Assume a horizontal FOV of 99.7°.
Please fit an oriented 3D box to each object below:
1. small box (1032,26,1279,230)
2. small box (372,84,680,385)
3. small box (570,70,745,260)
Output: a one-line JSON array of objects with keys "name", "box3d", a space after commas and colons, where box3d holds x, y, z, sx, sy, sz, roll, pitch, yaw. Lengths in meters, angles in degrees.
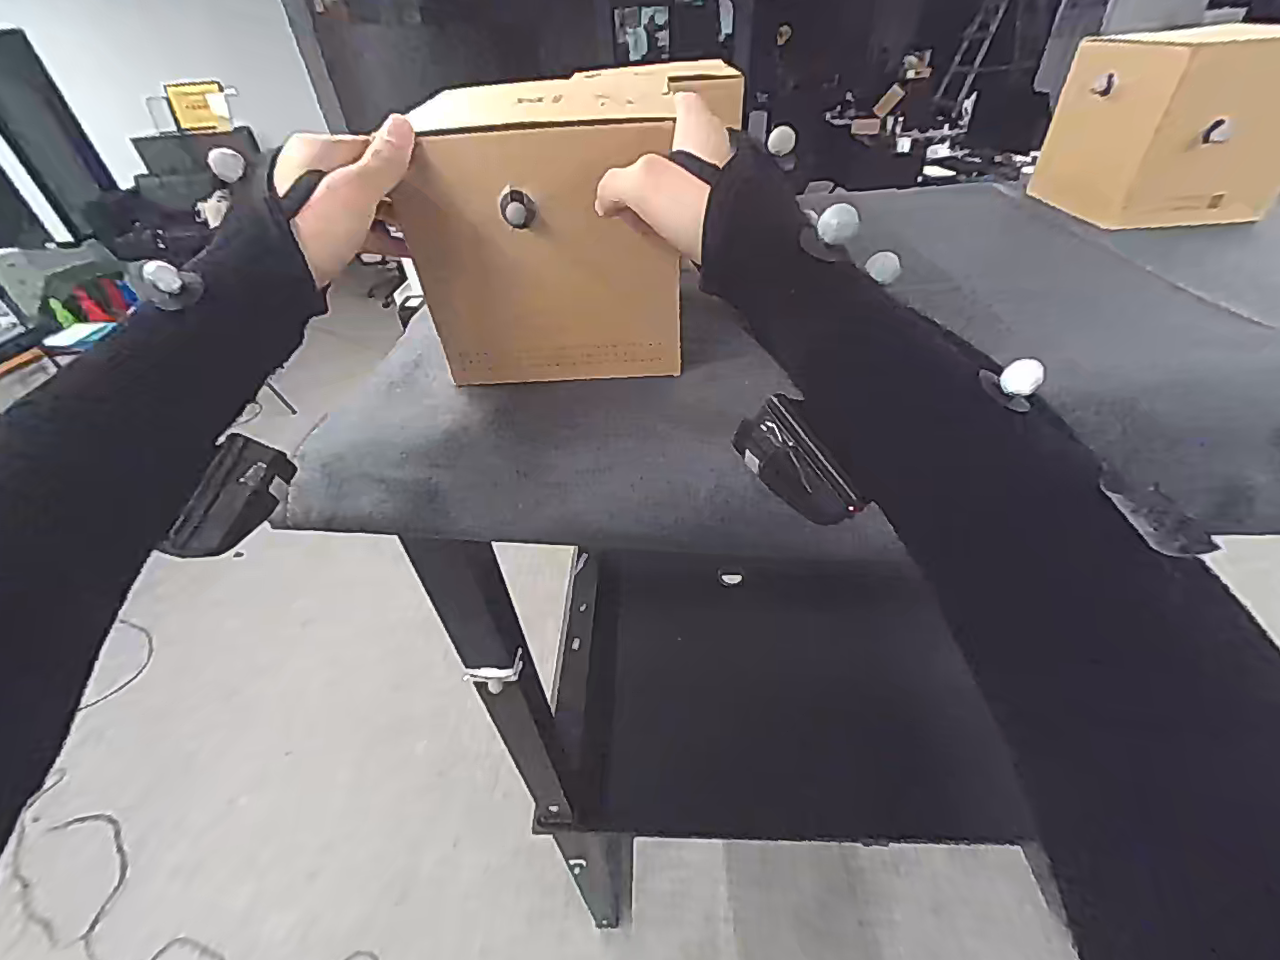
[{"name": "small box", "box3d": [0.592, -0.388, 0.605, 0.168, 0.176, 0.179, -3, 40, 3]}, {"name": "small box", "box3d": [-0.061, -0.184, 0.412, 0.179, 0.176, 0.168, -2, 43, 2]}, {"name": "small box", "box3d": [0.016, -0.363, 0.629, 0.179, 0.176, 0.168, -2, 40, 1]}]
